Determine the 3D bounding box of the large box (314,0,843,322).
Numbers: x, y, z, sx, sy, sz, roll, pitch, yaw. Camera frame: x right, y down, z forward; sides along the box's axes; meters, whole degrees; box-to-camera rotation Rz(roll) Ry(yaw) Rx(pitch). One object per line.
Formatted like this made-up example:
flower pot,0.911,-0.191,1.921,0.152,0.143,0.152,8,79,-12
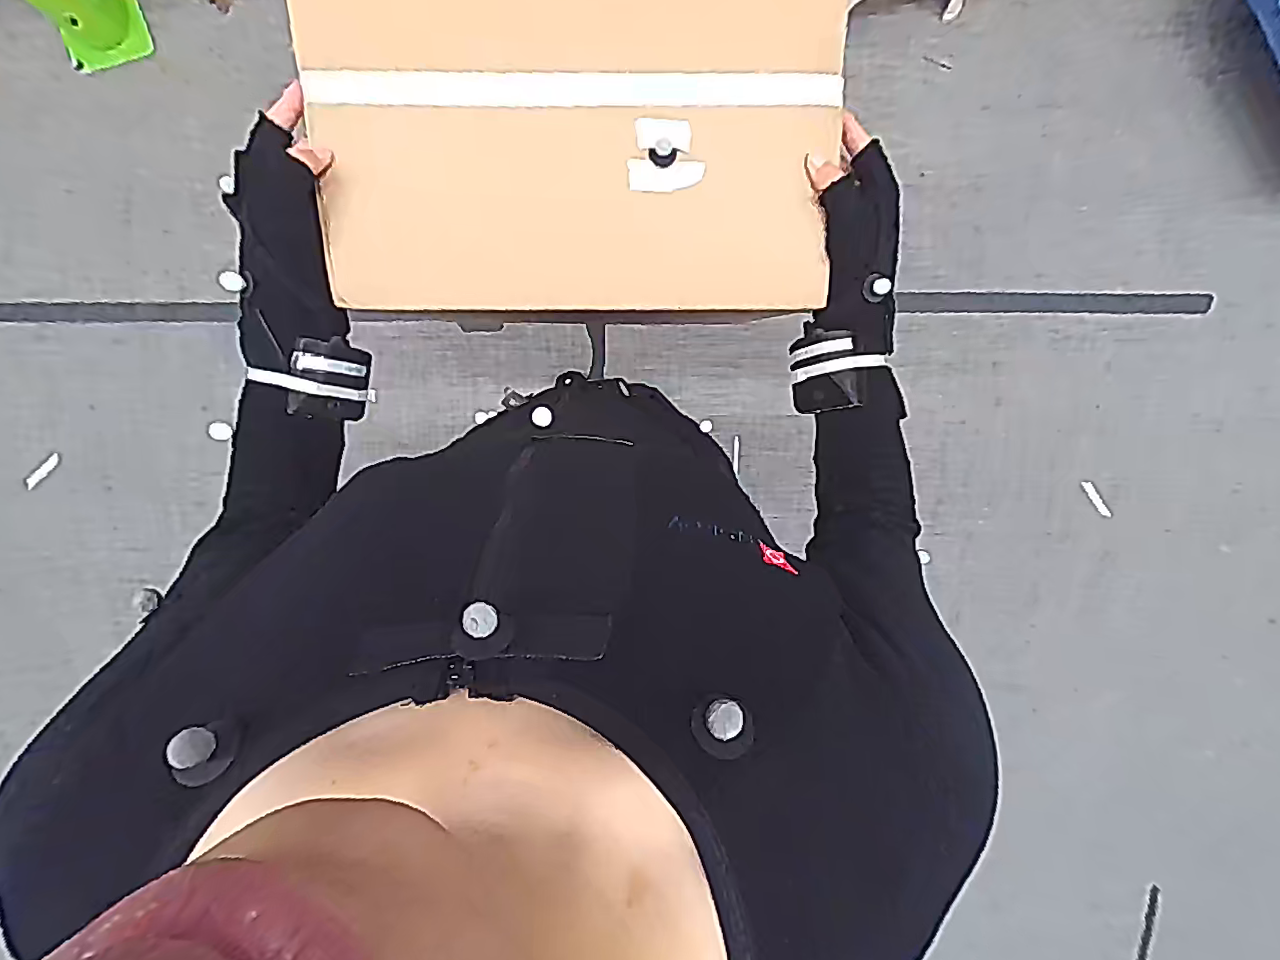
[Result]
large box,-0.050,-0.337,0.563,0.408,0.320,0.320,-1,104,-2
